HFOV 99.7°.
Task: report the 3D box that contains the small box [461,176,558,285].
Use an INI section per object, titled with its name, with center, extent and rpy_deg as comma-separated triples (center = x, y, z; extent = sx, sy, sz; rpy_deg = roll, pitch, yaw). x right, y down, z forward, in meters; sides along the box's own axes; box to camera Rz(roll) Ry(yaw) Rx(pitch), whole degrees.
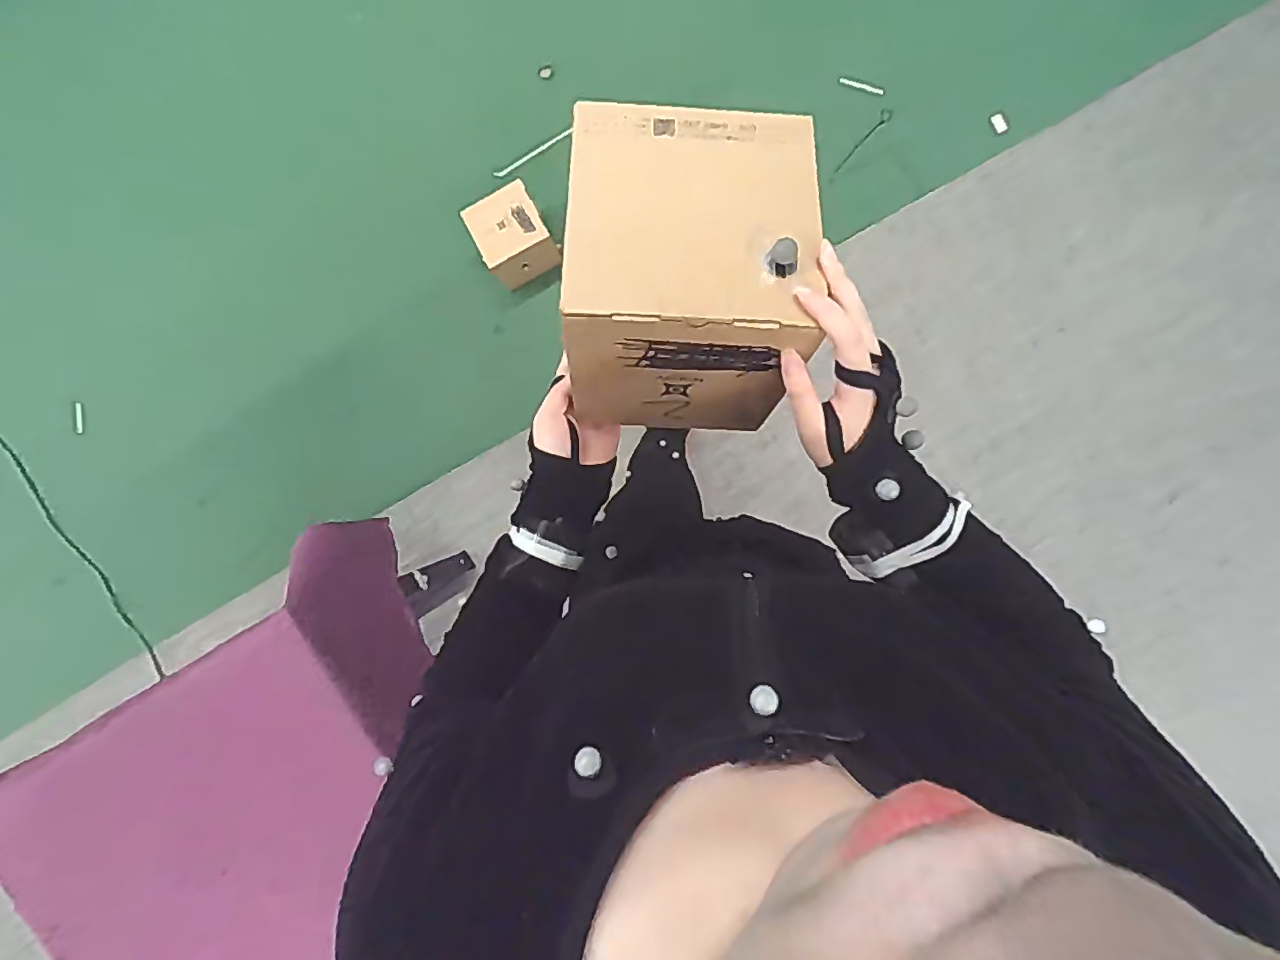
[small box]
center = -0.329, -0.644, 1.416
extent = 0.179, 0.176, 0.168
rpy_deg = -27, 89, 4
